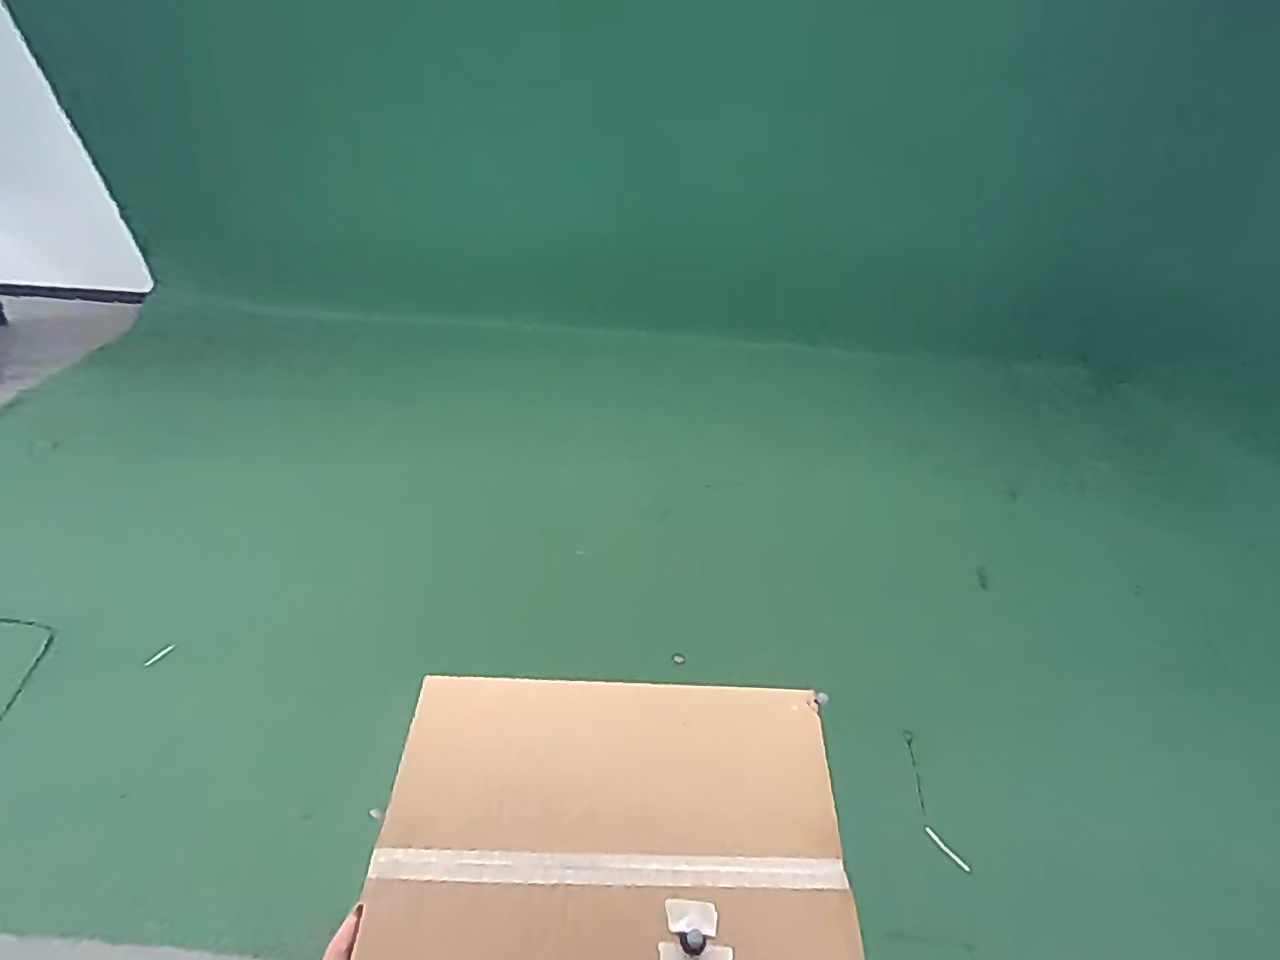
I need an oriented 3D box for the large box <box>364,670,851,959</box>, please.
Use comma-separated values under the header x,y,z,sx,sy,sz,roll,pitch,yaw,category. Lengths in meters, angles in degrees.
x,y,z,sx,sy,sz,roll,pitch,yaw,category
-0.031,0.421,0.599,0.408,0.320,0.320,3,53,-2,large box
